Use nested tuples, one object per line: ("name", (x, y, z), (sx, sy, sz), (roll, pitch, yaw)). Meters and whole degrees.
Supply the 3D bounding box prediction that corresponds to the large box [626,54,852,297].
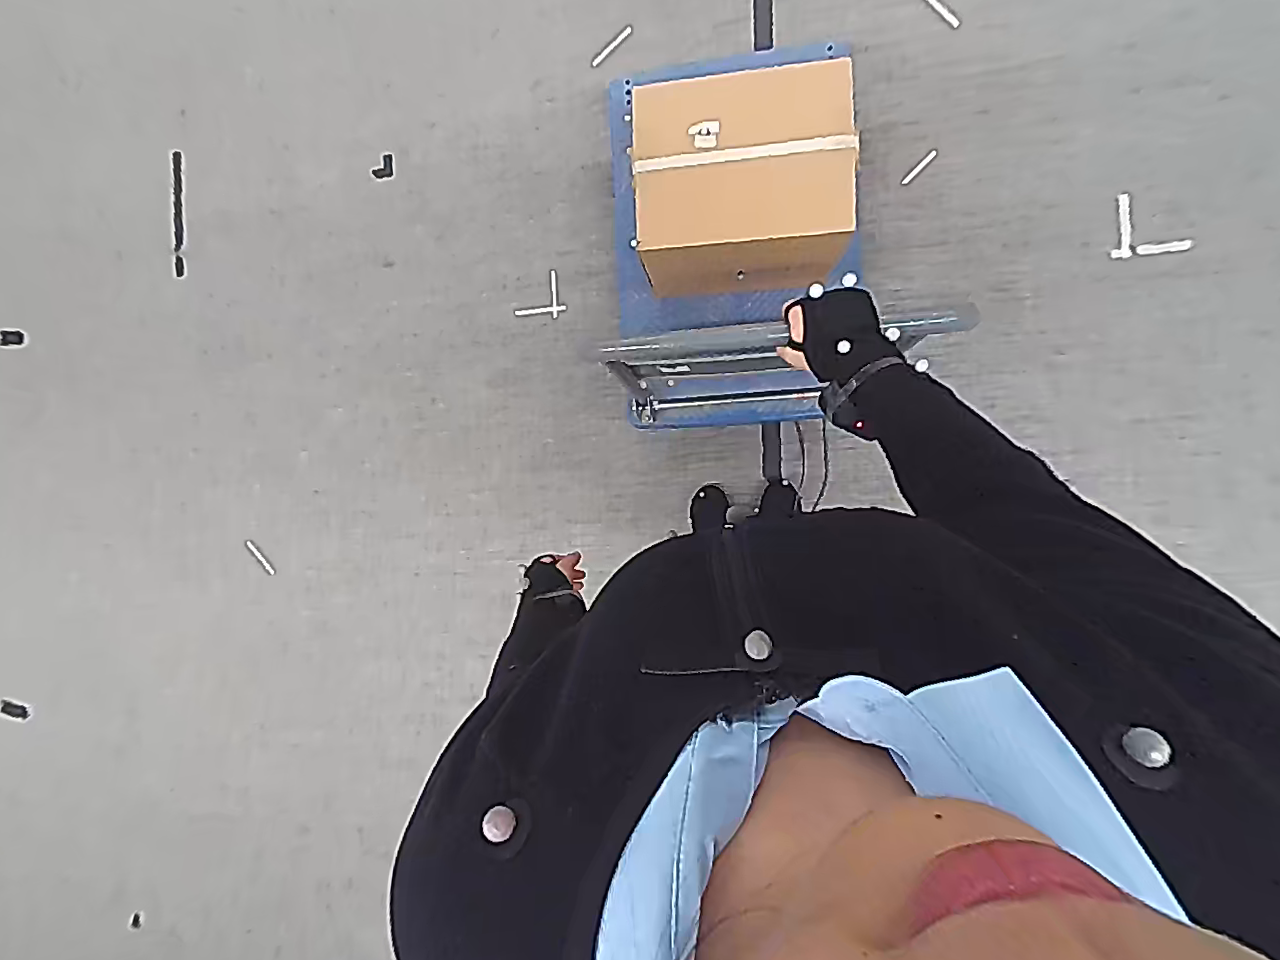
("large box", (0.203, -0.601, 1.143), (0.408, 0.320, 0.320), (-2, 90, 10))
